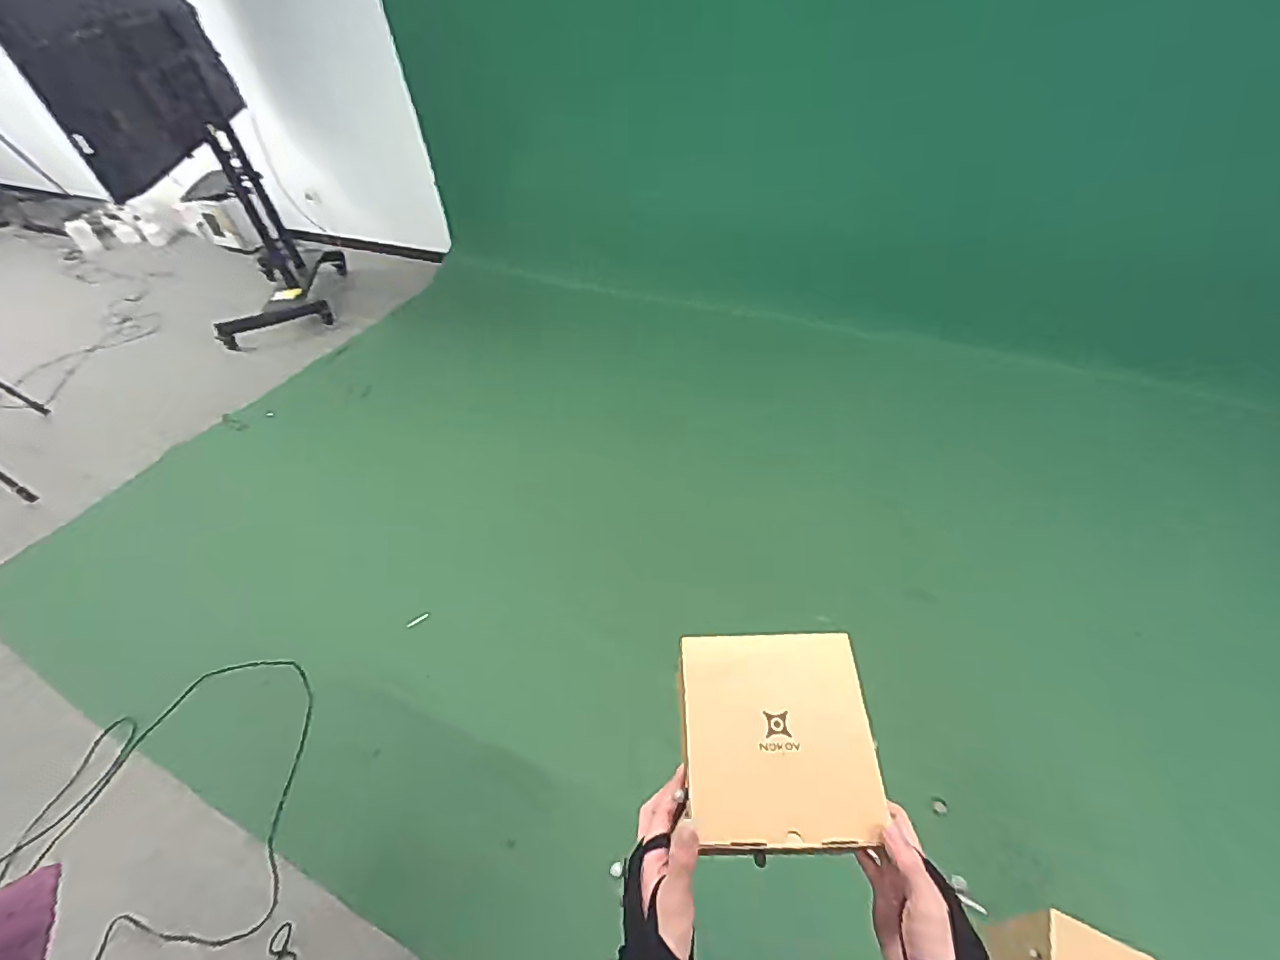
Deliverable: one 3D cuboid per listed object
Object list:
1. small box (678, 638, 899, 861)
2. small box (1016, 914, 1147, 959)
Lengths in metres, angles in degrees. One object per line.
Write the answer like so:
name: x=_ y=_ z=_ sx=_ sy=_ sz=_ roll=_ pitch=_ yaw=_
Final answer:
small box: x=0.126 y=0.274 z=0.545 sx=0.168 sy=0.176 sz=0.179 roll=-3 pitch=55 yaw=1
small box: x=0.796 y=0.930 z=0.966 sx=0.168 sy=0.176 sz=0.179 roll=18 pitch=50 yaw=21
